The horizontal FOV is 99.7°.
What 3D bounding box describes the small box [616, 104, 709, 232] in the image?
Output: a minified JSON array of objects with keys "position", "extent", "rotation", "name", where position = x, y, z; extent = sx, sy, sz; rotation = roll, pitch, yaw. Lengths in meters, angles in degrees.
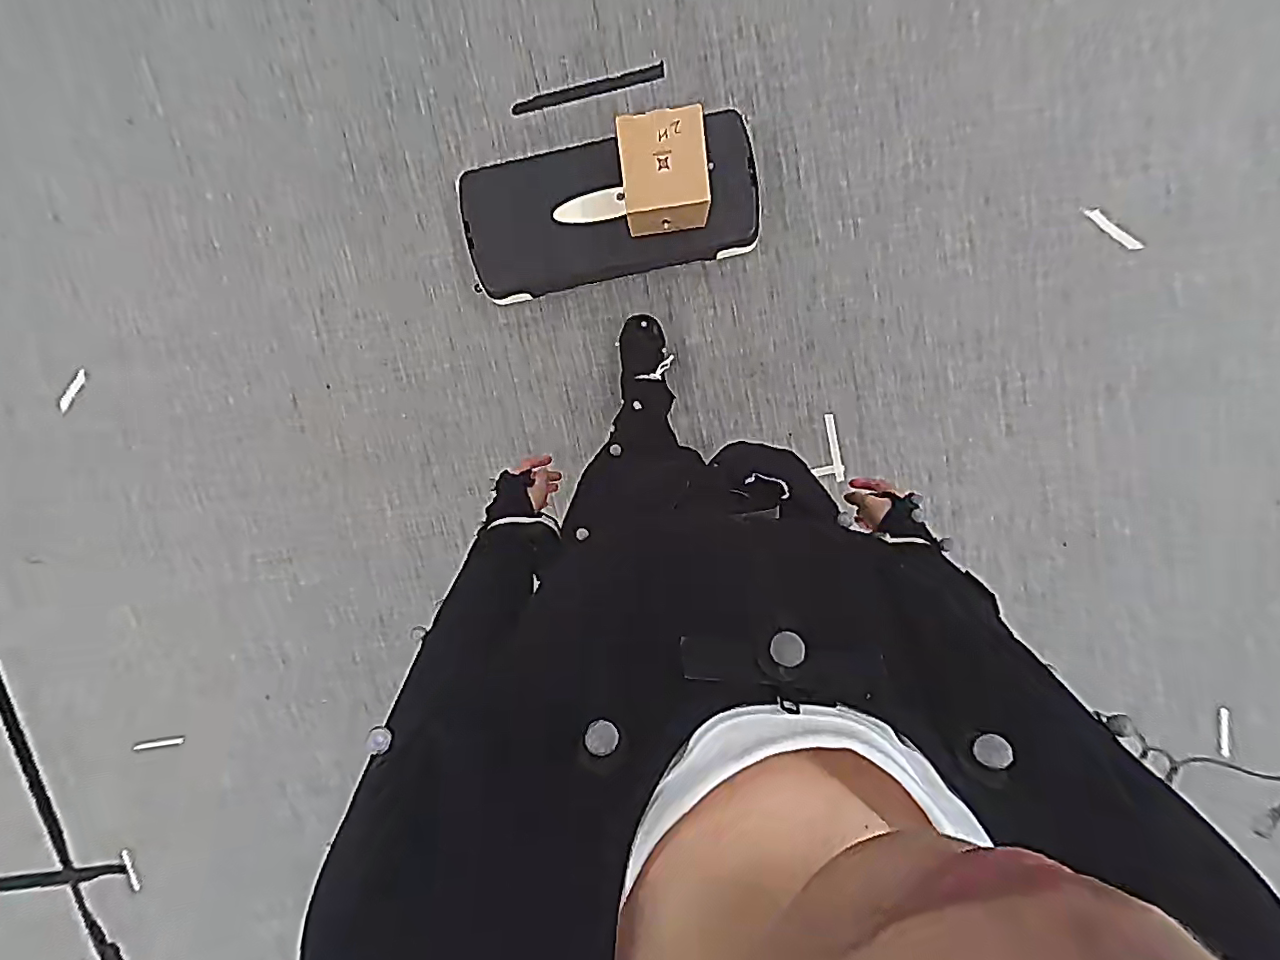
[{"position":[0.047,-0.621,1.104],"extent":[0.168,0.176,0.179],"rotation":[-7,99,3],"name":"small box"}]
